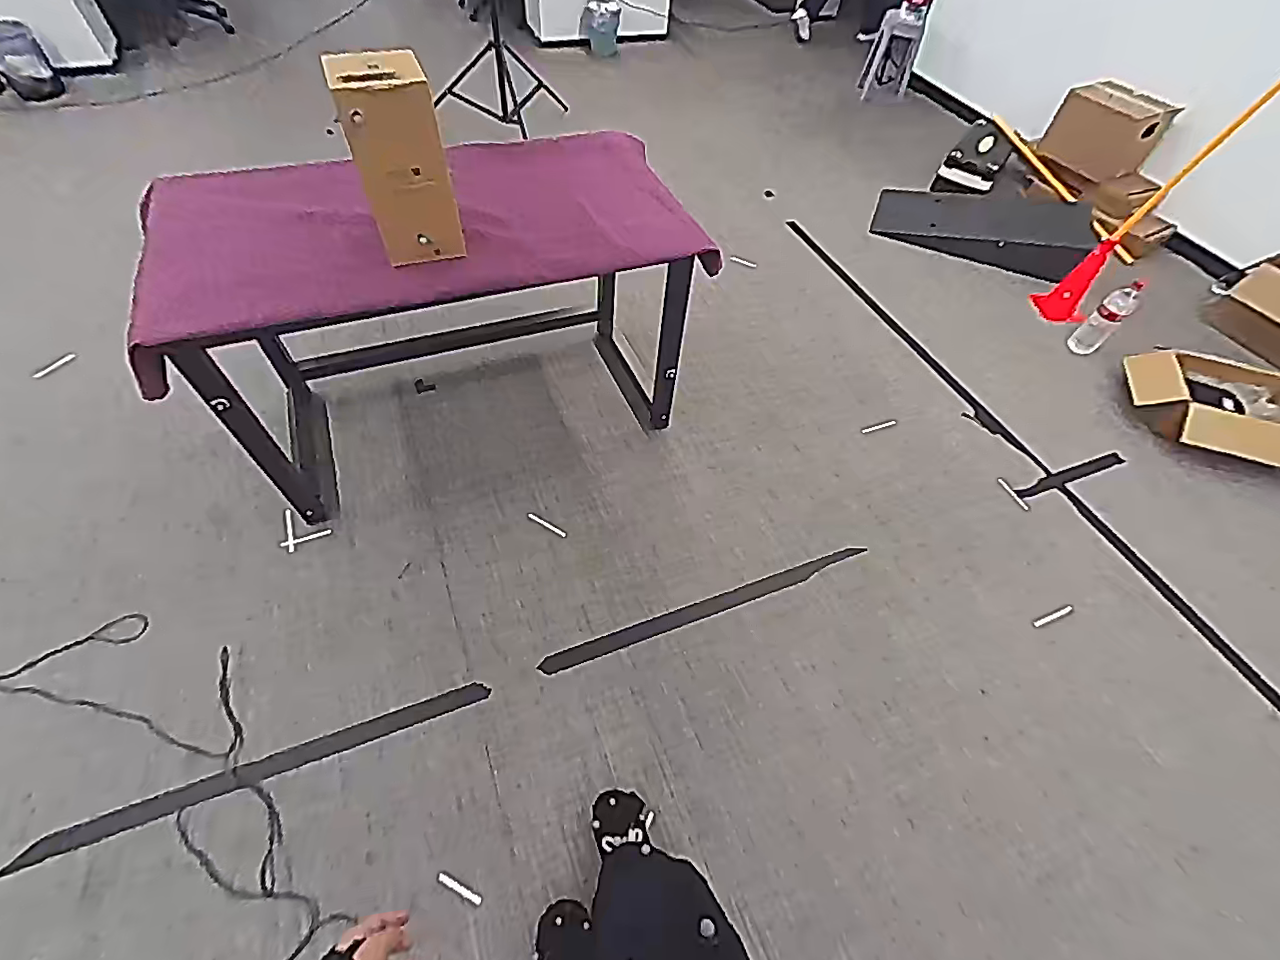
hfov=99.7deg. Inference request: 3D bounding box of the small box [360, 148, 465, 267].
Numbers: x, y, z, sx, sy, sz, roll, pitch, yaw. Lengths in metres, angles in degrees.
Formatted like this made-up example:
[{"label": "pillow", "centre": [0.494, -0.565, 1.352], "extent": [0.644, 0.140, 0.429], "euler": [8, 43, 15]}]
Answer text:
[{"label": "small box", "centre": [-0.493, -0.595, 1.183], "extent": [0.168, 0.176, 0.179], "euler": [-15, 57, -14]}]
